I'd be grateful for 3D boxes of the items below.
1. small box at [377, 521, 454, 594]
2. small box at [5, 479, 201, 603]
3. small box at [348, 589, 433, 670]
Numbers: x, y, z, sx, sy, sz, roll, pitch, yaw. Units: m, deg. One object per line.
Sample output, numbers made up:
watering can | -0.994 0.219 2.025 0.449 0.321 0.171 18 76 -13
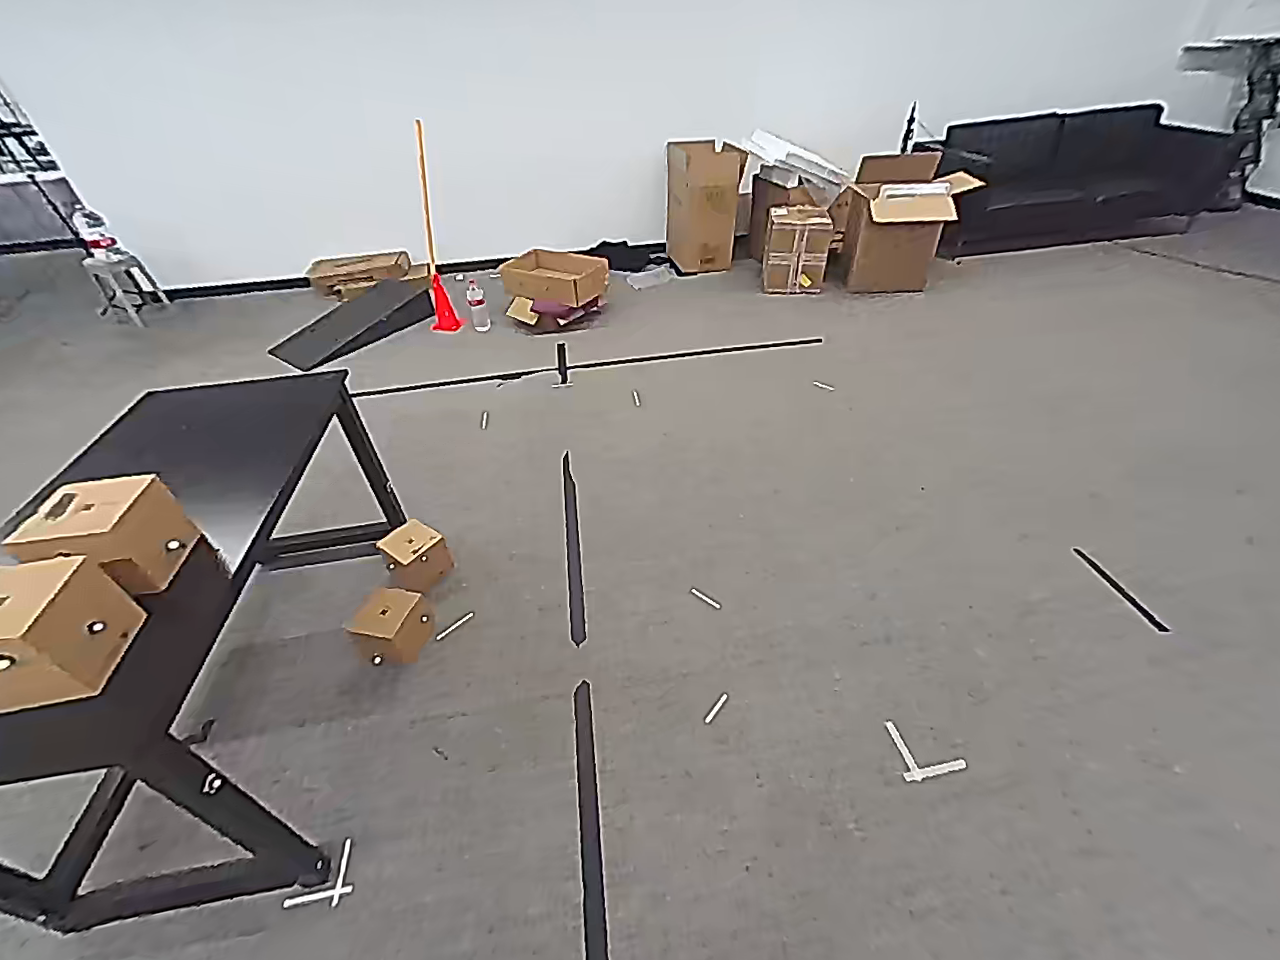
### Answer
small box | -0.817 0.285 1.977 0.179 0.176 0.168 22 47 27
small box | -1.024 0.121 1.053 0.179 0.176 0.168 -7 40 -5
small box | -0.794 0.481 1.746 0.168 0.176 0.179 5 42 12
